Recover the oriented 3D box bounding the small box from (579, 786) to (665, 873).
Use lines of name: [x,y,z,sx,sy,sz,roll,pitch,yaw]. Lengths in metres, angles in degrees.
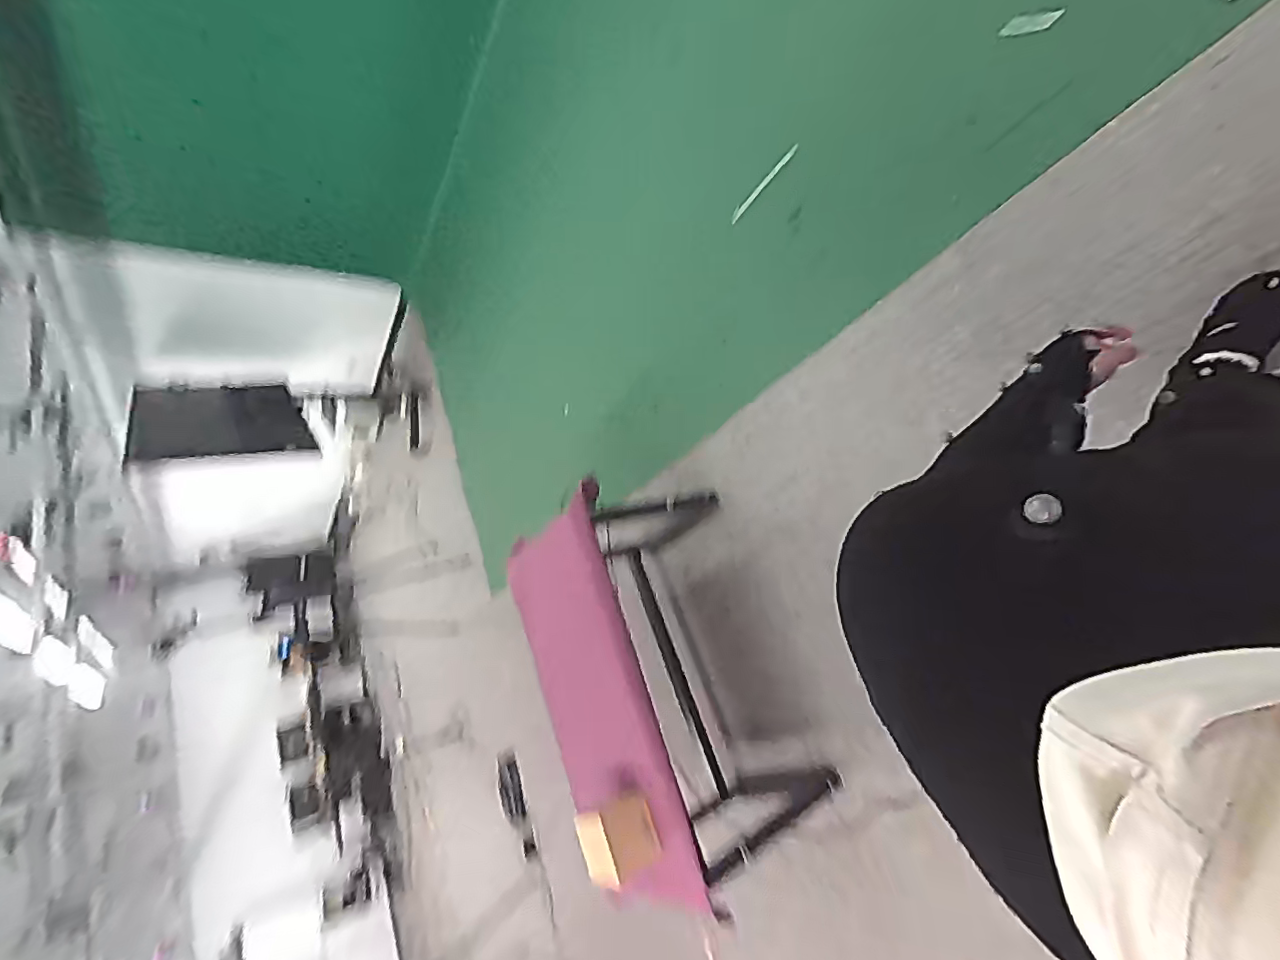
small box: [-0.055,1.041,1.624,0.179,0.176,0.168,-41,64,46]
